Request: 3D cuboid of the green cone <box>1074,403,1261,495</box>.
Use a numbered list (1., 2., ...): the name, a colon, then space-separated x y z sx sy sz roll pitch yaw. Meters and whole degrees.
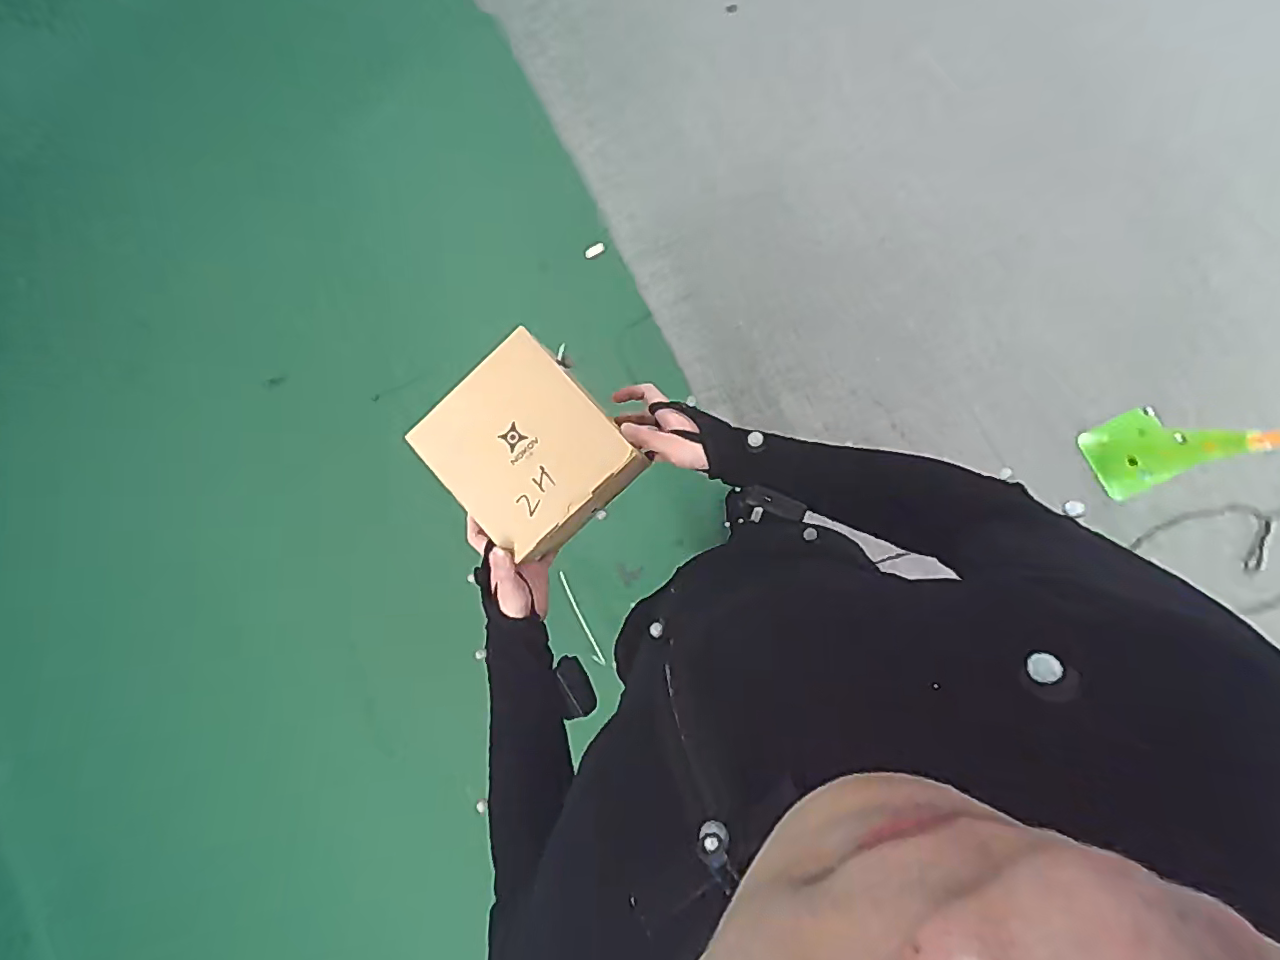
1. green cone: 1.288 -0.083 1.296 0.200 0.368 0.202 -29 86 8
